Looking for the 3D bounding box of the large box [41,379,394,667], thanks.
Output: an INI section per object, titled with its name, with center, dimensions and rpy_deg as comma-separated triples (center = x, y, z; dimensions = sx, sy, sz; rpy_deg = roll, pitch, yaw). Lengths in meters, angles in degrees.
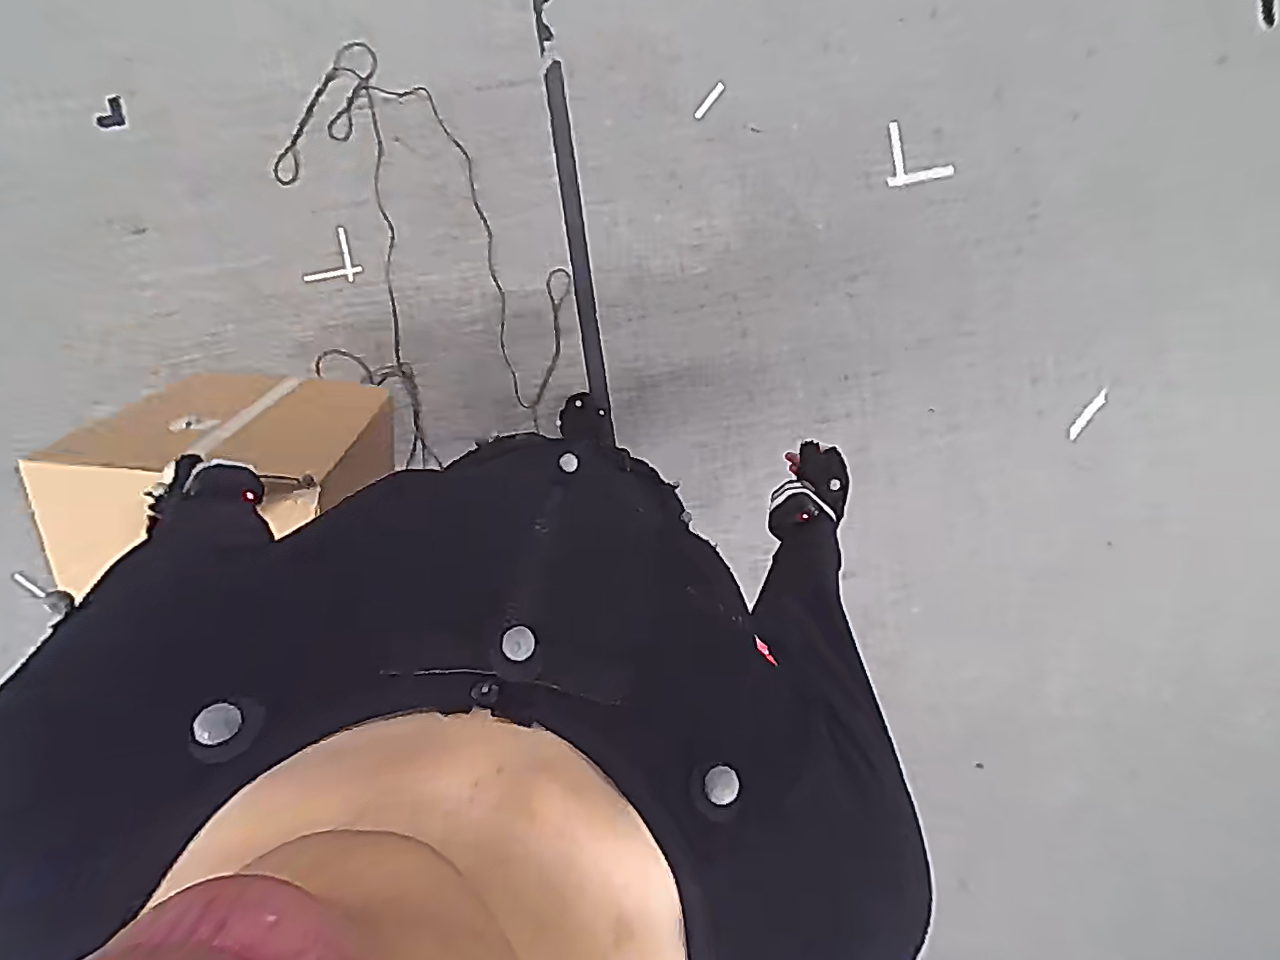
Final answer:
[large box]
center = -0.613, 0.049, 0.897
dimensions = 0.320, 0.408, 0.320
rpy_deg = 3, 115, -12
